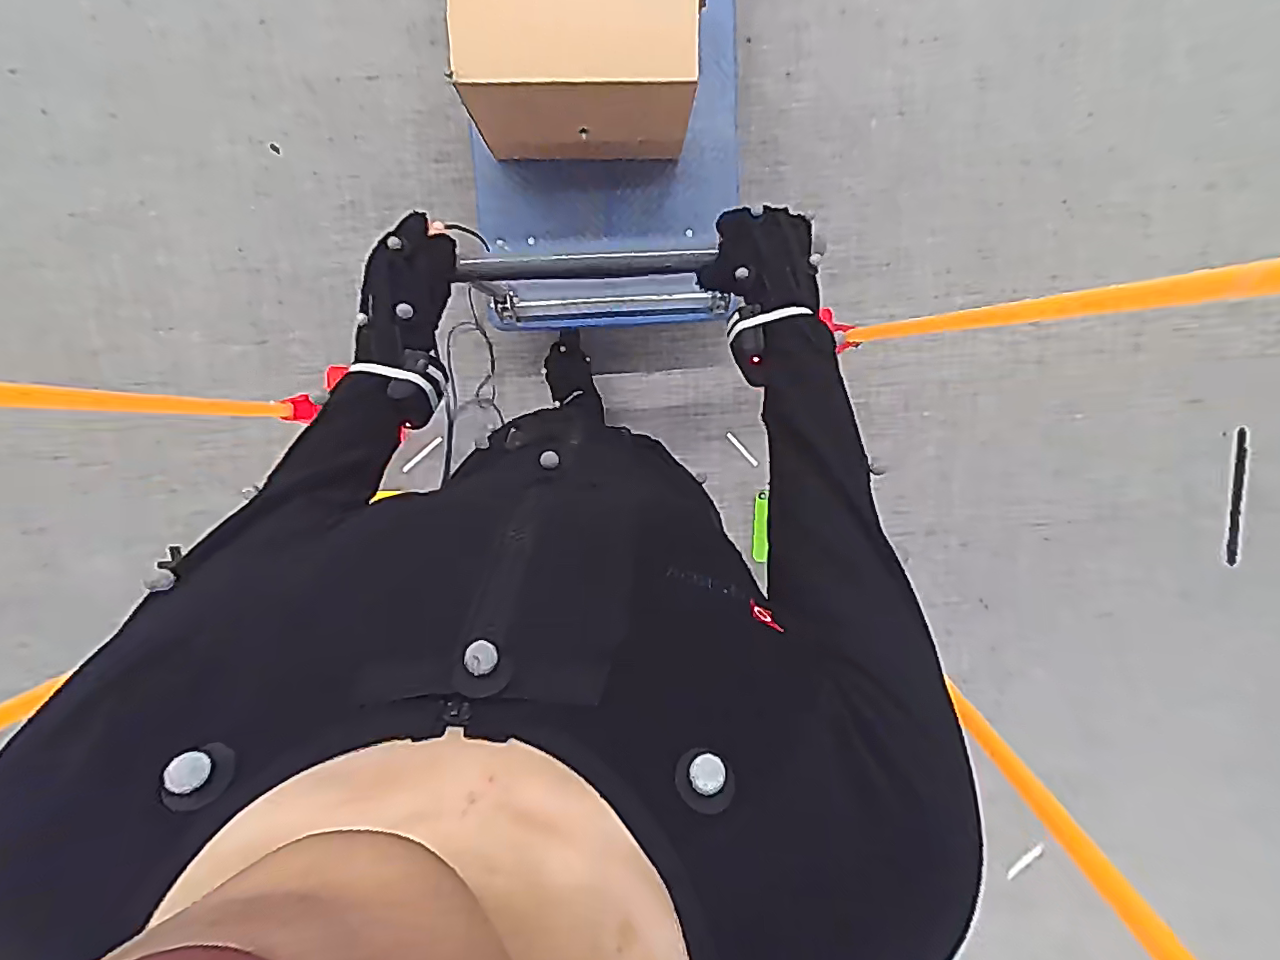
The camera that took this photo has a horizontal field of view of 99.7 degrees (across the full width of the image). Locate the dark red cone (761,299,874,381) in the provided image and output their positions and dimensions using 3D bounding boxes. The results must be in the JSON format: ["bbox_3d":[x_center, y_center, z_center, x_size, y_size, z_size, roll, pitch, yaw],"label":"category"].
[{"bbox_3d":[0.420,-0.331,1.225,0.201,0.394,0.202,-4,99,-2],"label":"dark red cone"}]

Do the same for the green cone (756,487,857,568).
[{"bbox_3d":[0.428,0.145,1.319,0.202,0.368,0.200,0,99,-2],"label":"green cone"}]

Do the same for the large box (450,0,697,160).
[{"bbox_3d":[-0.109,-0.824,1.010,0.408,0.320,0.320,-1,100,0],"label":"large box"}]

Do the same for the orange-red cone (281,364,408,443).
[{"bbox_3d":[-0.704,-0.177,1.249,0.198,0.360,0.199,4,97,-3],"label":"orange-red cone"}]
